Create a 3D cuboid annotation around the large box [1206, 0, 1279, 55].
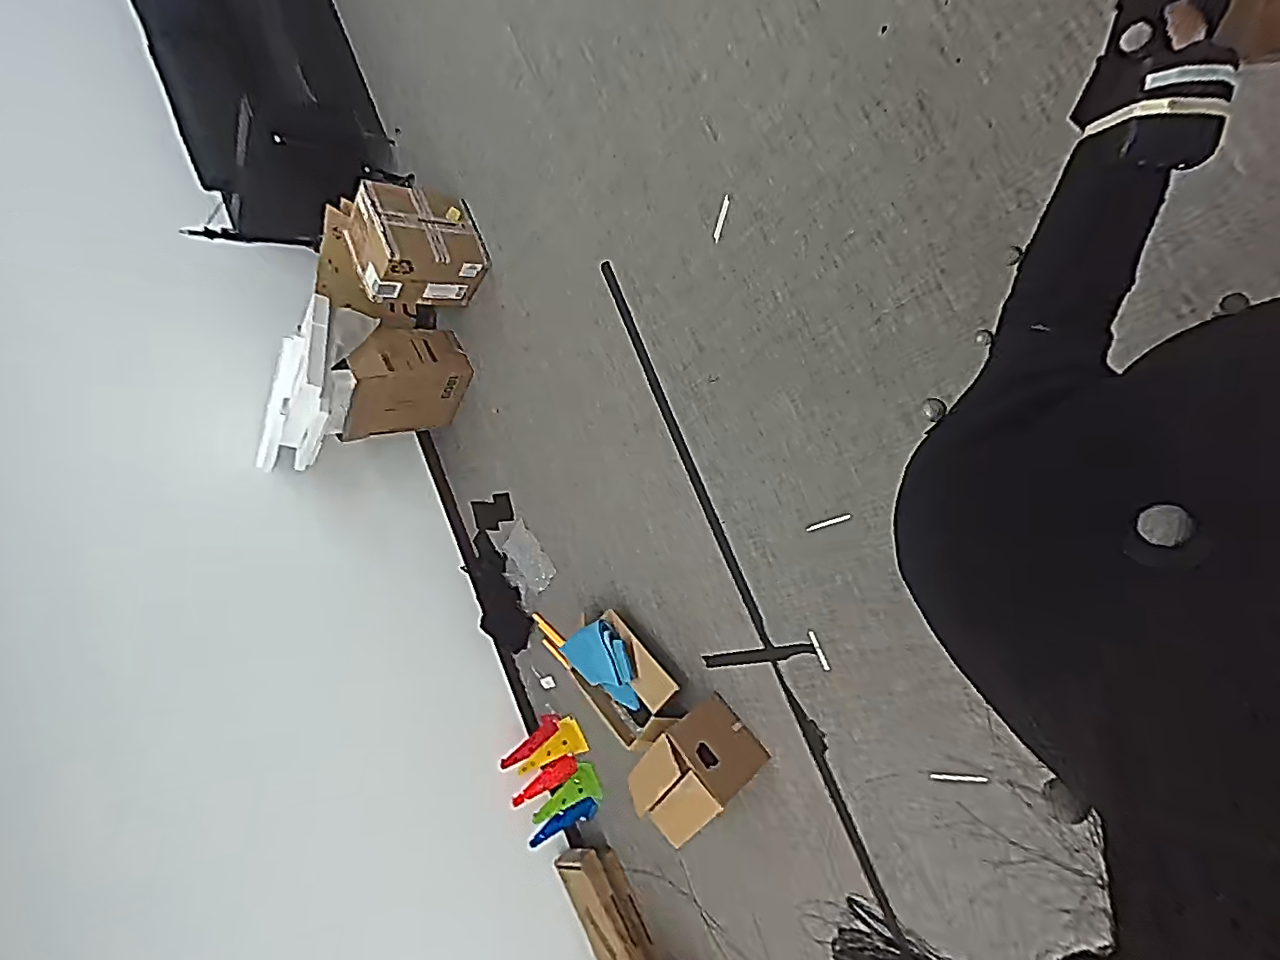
[{"bbox_3d":[0.625,-0.475,0.283,0.408,0.320,0.320,15,127,38],"label":"large box"}]
